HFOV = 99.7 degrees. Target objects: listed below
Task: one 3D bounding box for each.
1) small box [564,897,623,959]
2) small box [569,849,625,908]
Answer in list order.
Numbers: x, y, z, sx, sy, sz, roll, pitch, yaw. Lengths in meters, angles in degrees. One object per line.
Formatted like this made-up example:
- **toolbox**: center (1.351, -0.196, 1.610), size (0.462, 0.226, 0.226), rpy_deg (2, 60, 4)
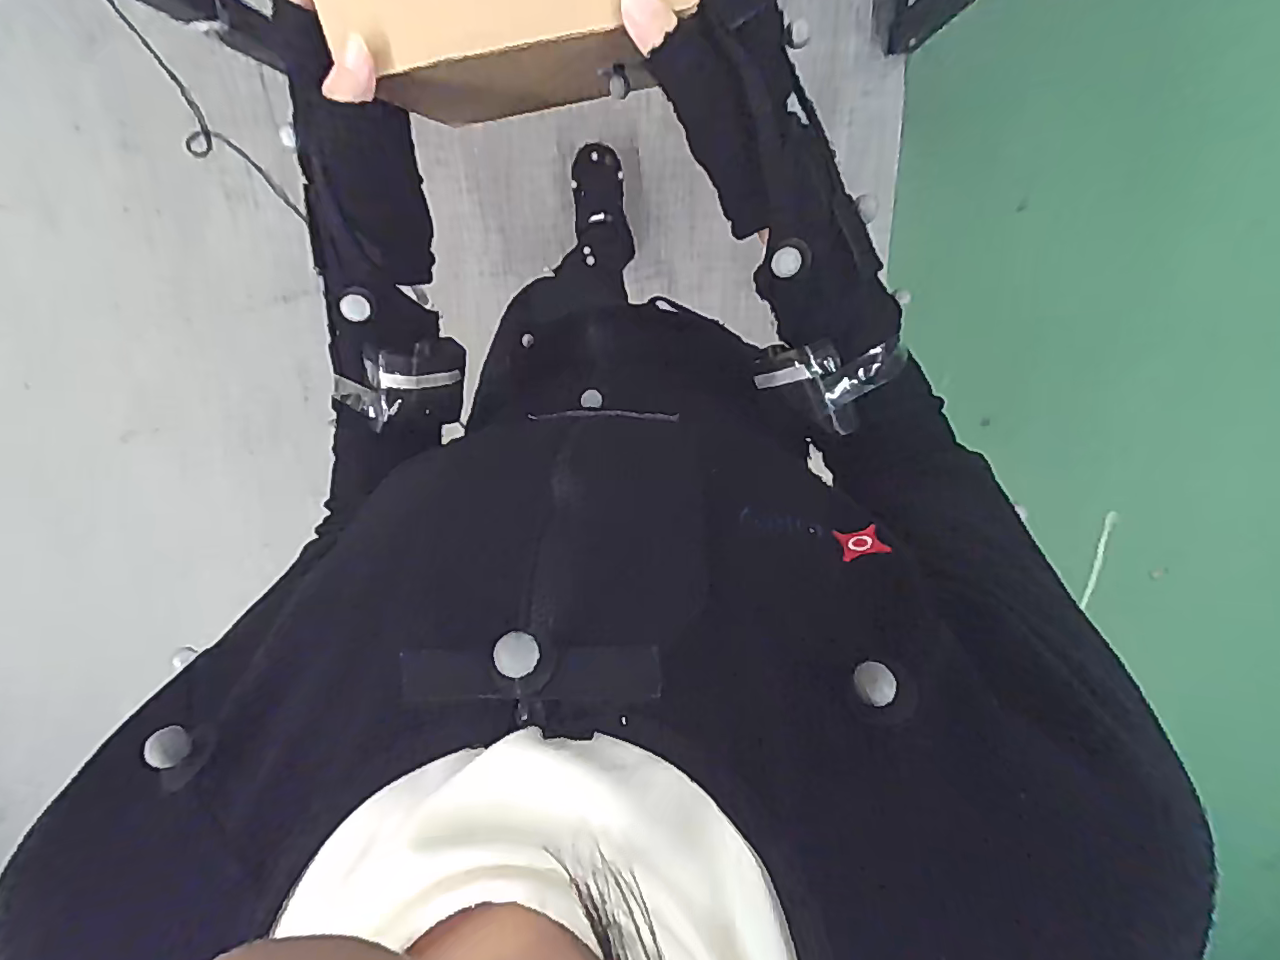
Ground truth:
- **small box**: center (-0.154, 1.552, 1.832), size (0.179, 0.176, 0.168), rpy_deg (0, 112, 2)
- **small box**: center (-0.152, 1.490, 1.983), size (0.179, 0.176, 0.168), rpy_deg (-4, 111, 4)
